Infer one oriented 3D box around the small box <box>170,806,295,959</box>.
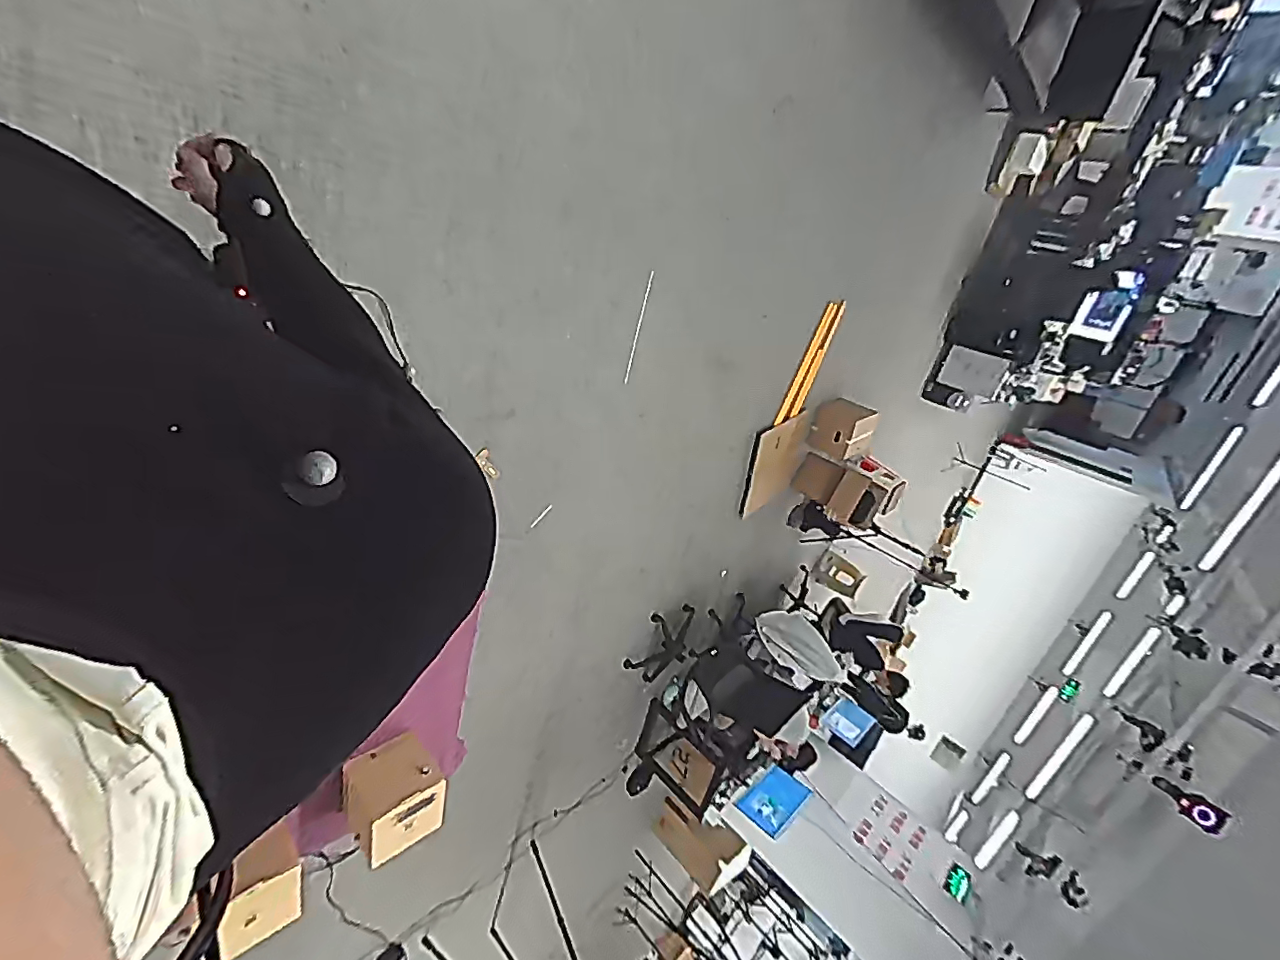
[{"bbox_3d":[-0.788,0.787,1.048,0.168,0.176,0.179,-10,122,-46],"label":"small box"}]
